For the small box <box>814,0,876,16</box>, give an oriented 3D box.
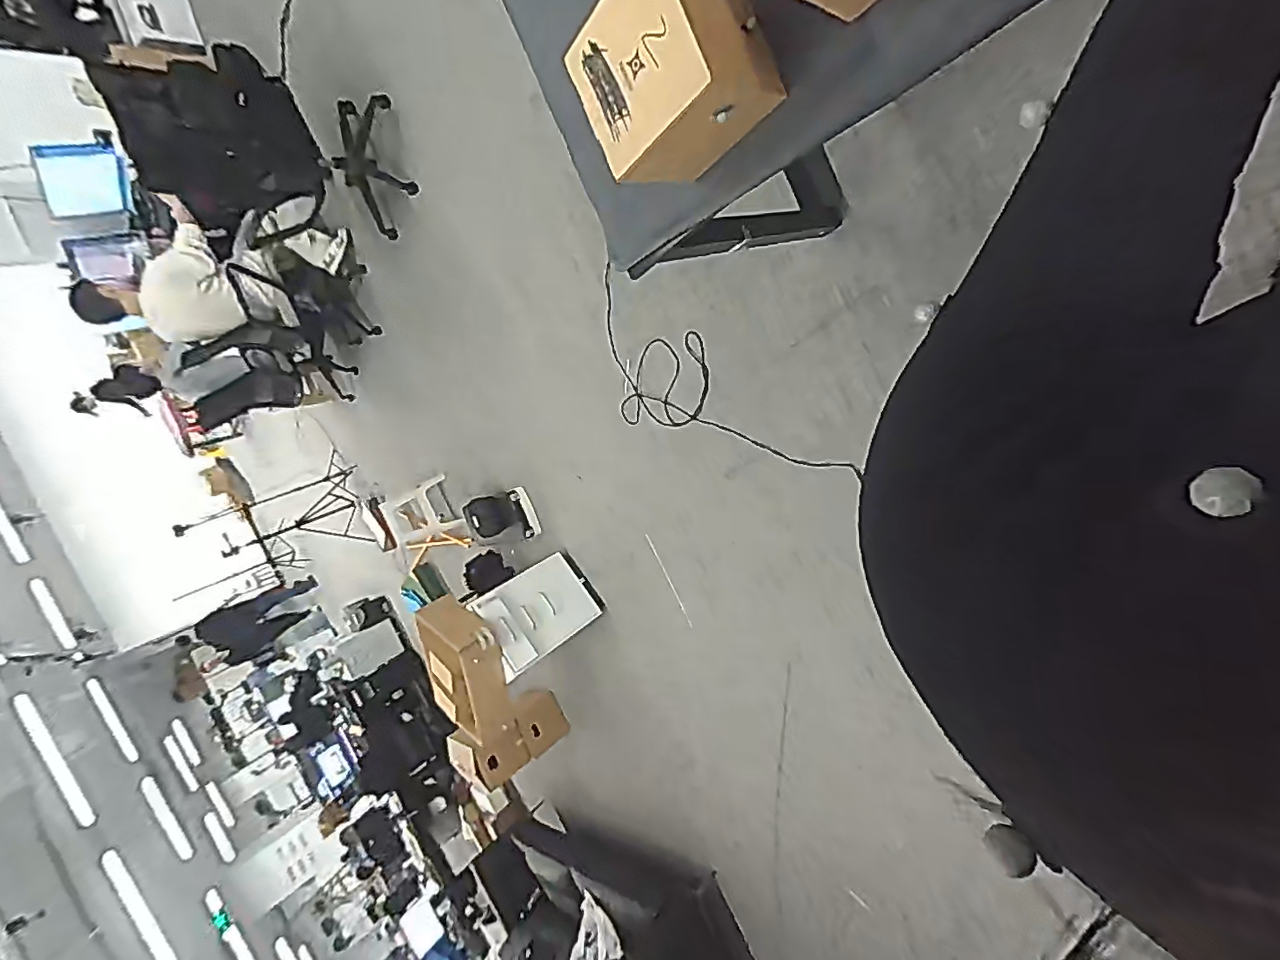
[{"bbox_3d":[0.211,-0.573,0.480,0.179,0.176,0.168,-12,100,49],"label":"small box"}]
